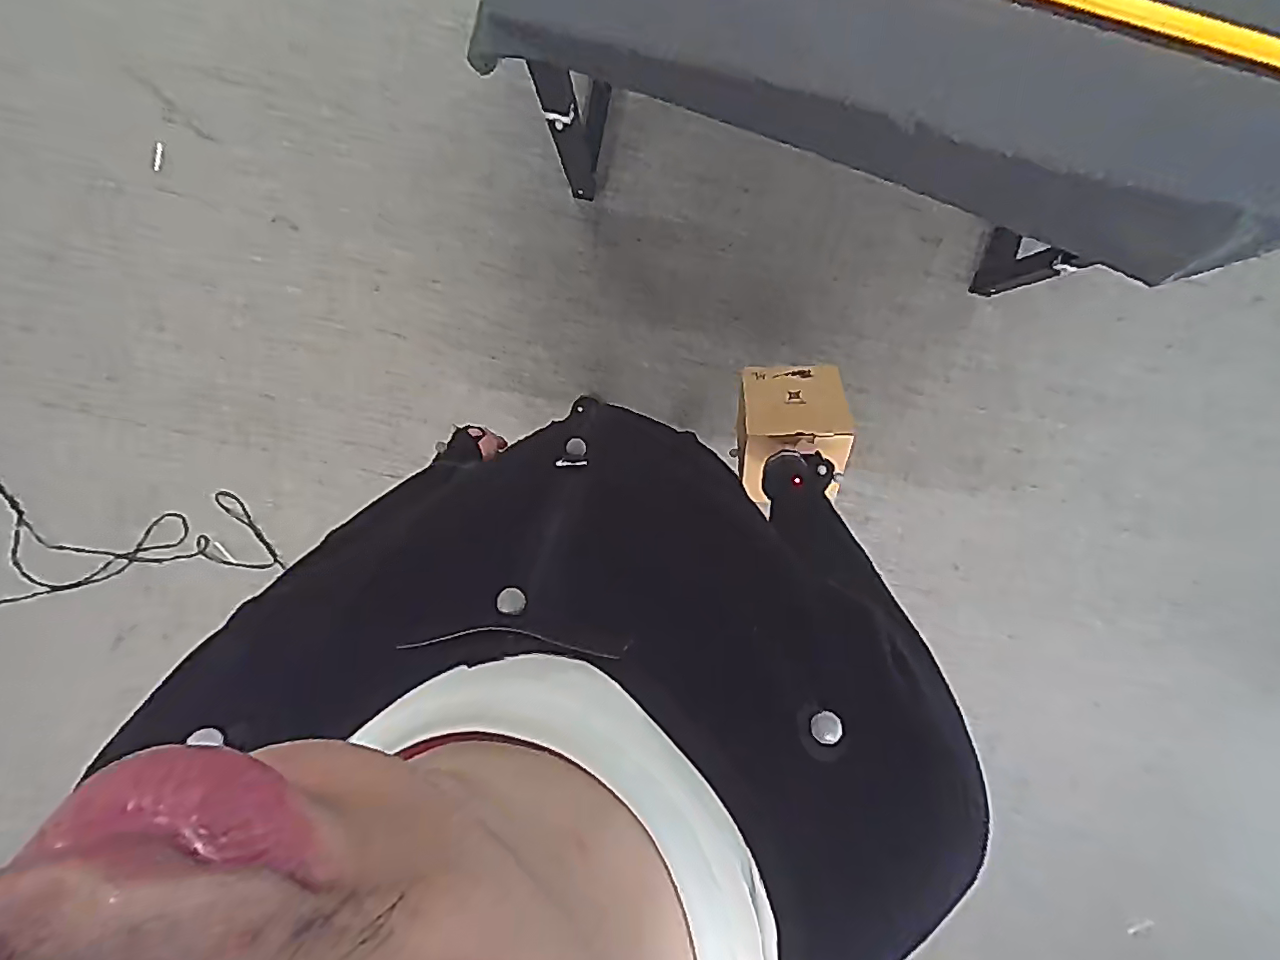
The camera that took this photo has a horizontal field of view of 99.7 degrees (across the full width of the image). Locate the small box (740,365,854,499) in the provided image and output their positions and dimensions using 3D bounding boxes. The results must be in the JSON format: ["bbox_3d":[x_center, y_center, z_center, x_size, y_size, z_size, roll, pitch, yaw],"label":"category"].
[{"bbox_3d":[0.266,-0.077,0.954,0.168,0.179,0.176,-3,138,7],"label":"small box"}]
